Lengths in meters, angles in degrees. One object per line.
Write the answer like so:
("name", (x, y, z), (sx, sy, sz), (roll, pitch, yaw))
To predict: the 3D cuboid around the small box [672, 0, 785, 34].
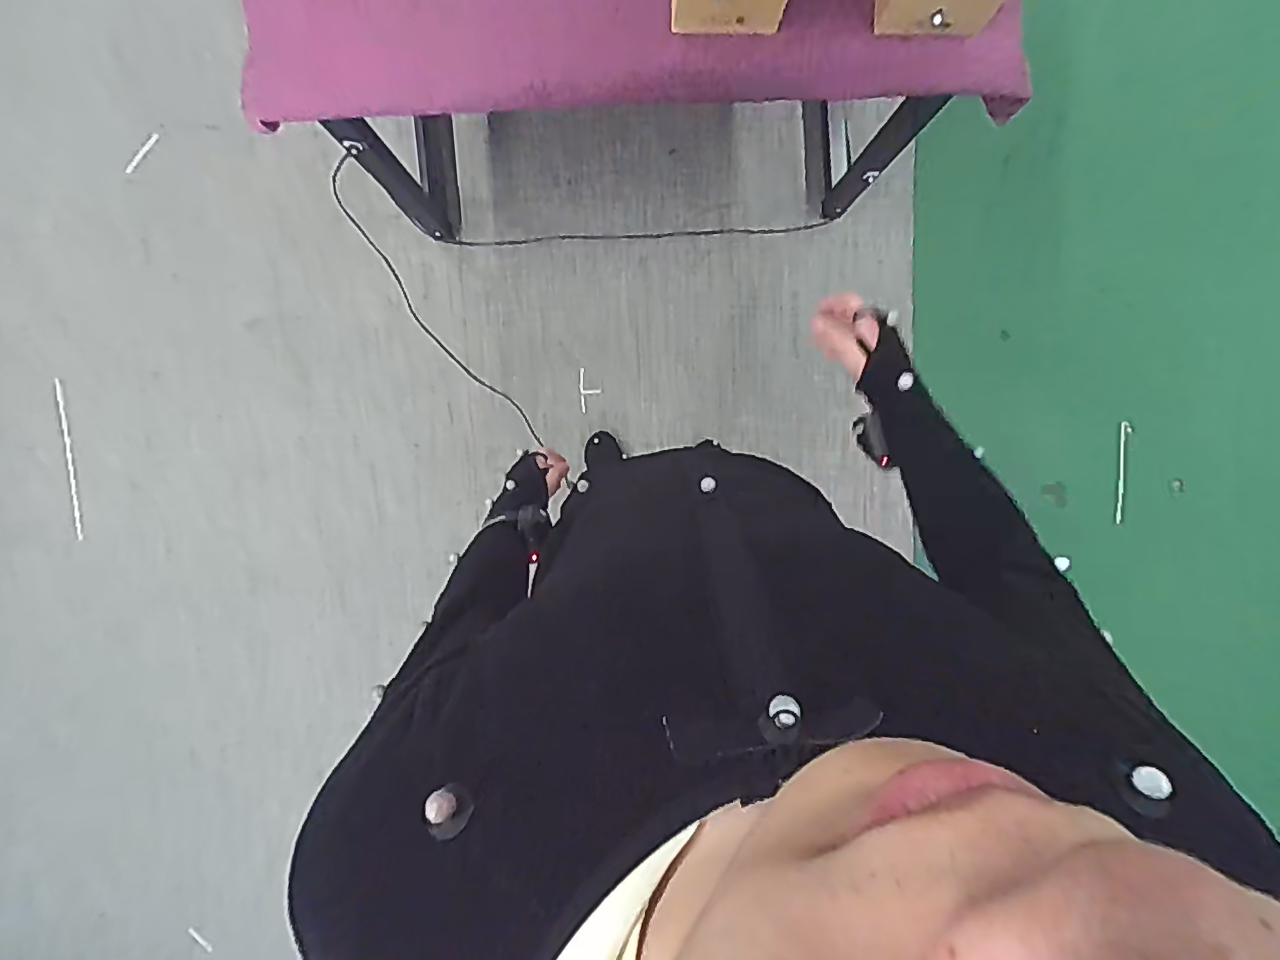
("small box", (0.133, -0.778, 0.765), (0.168, 0.176, 0.179), (-1, 93, -1))
